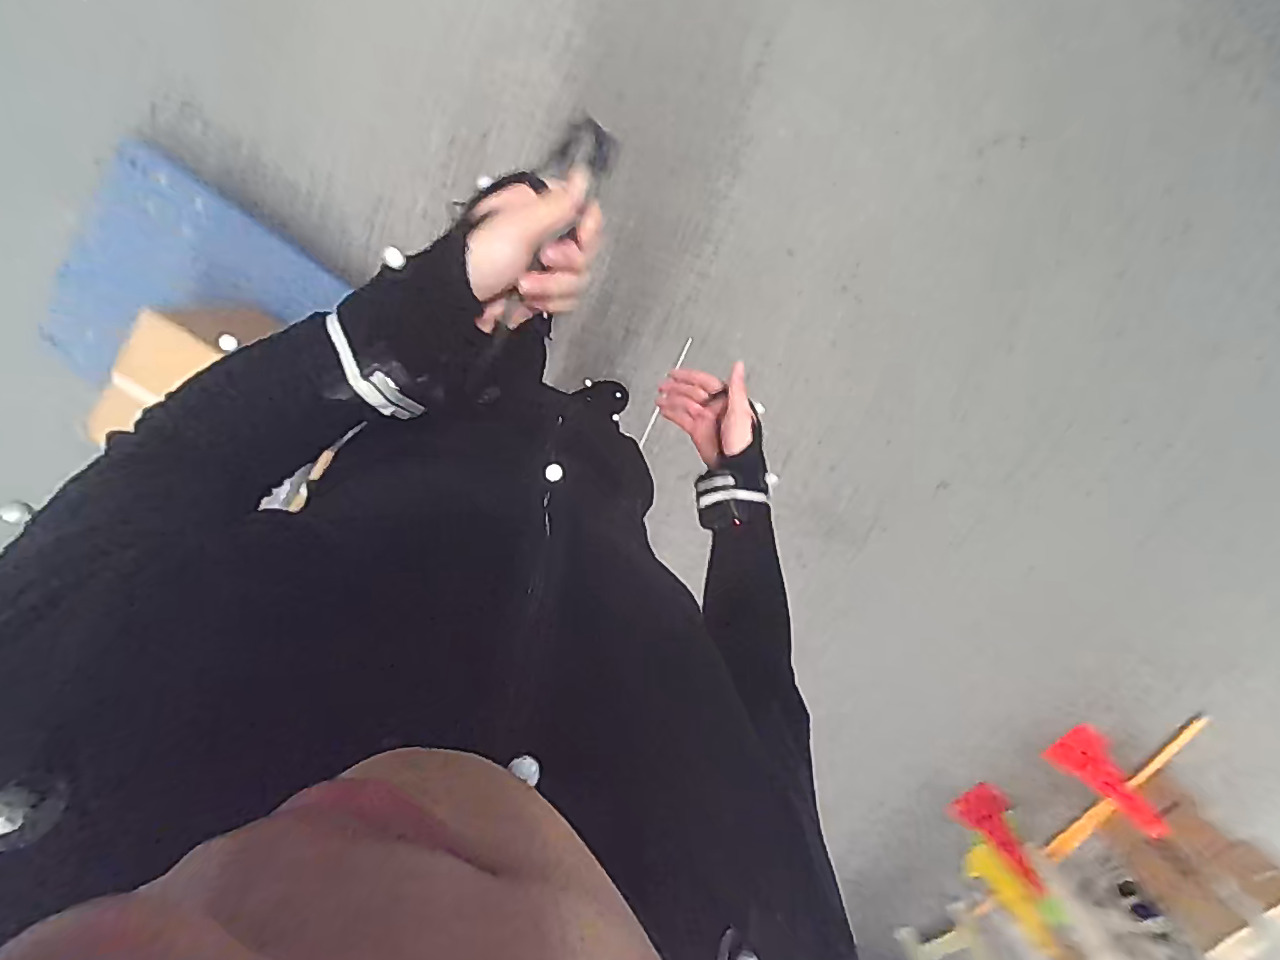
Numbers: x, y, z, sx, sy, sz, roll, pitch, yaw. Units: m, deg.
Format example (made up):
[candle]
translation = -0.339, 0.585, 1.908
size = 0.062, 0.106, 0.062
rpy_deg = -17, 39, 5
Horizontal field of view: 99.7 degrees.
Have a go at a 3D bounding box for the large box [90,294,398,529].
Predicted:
[large box]
translation = -0.847, -0.166, 1.218
size = 0.408, 0.320, 0.320
rpy_deg = 37, 104, -14
